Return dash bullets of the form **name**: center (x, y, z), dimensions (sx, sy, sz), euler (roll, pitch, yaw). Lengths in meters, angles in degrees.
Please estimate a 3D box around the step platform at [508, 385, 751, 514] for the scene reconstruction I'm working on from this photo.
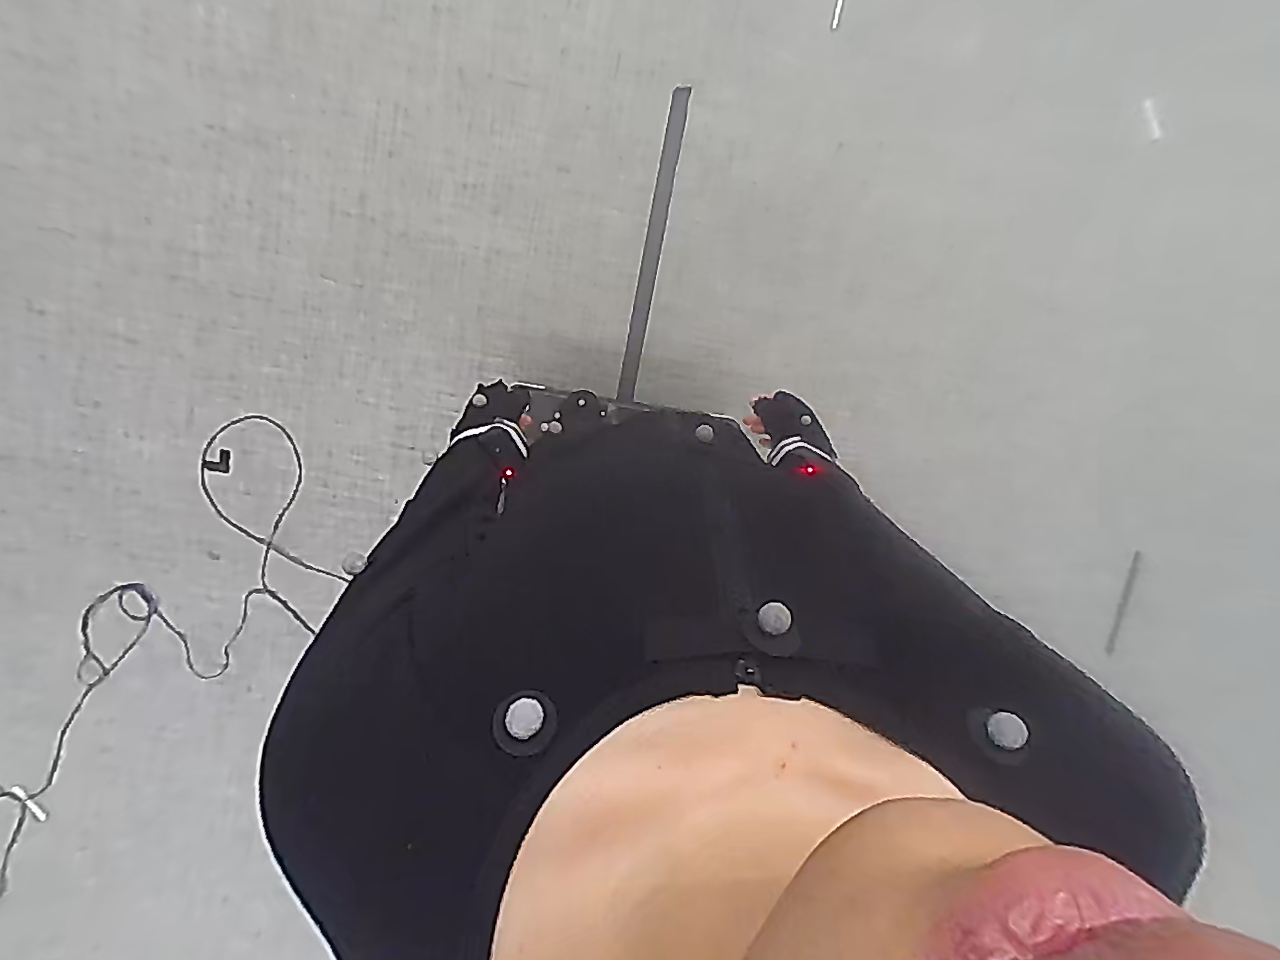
- **step platform**: center (-0.031, -0.088, 1.563), dimensions (0.684, 0.204, 0.286), euler (7, 99, -7)
